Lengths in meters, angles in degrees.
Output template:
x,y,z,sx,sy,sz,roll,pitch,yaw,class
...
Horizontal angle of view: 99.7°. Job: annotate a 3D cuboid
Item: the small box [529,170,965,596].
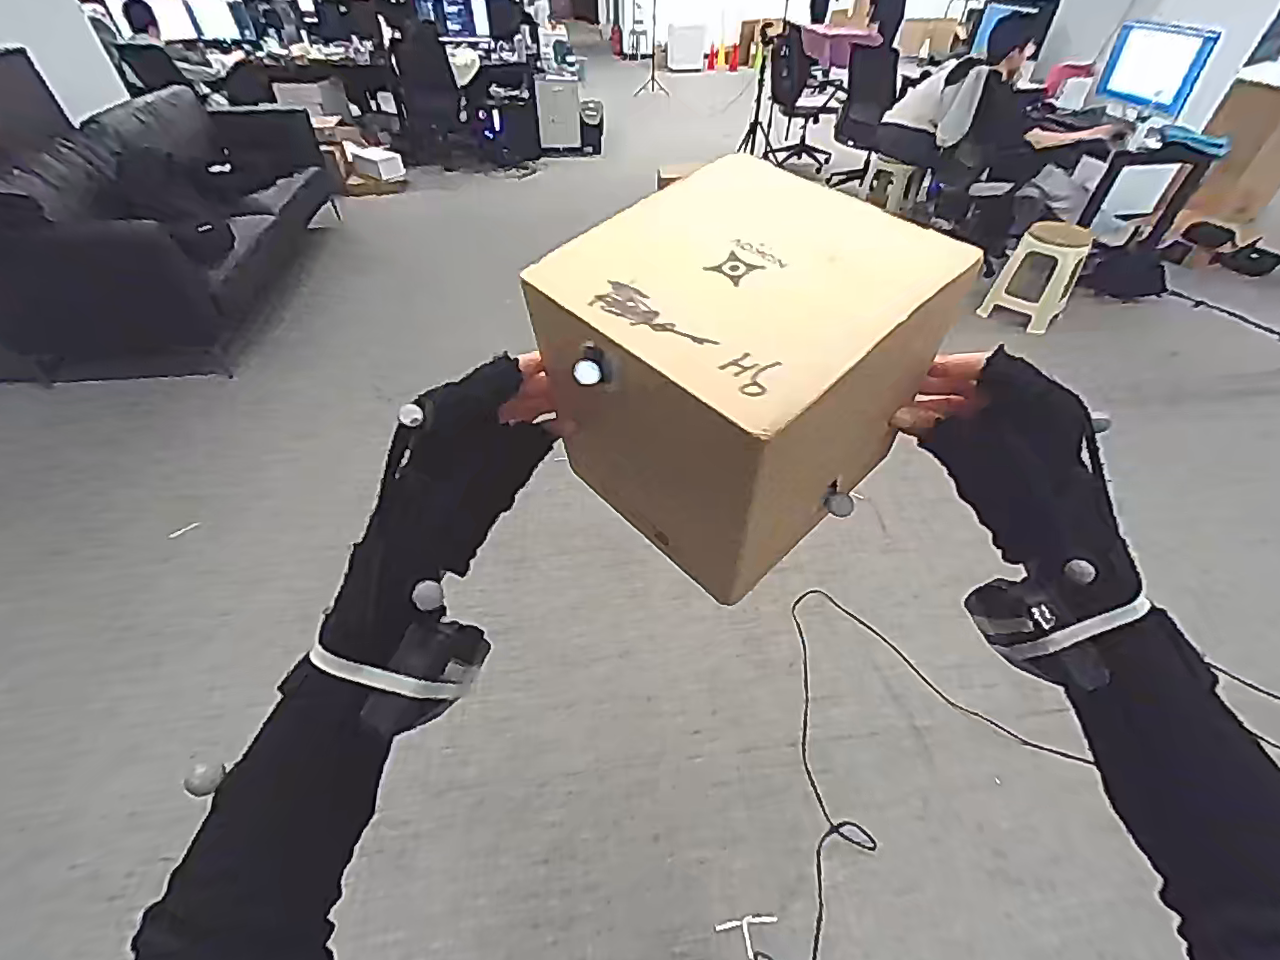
x,y,z,sx,sy,sz,roll,pitch,yaw,class
0.058,-0.061,0.351,0.179,0.176,0.168,-38,60,-21,small box
